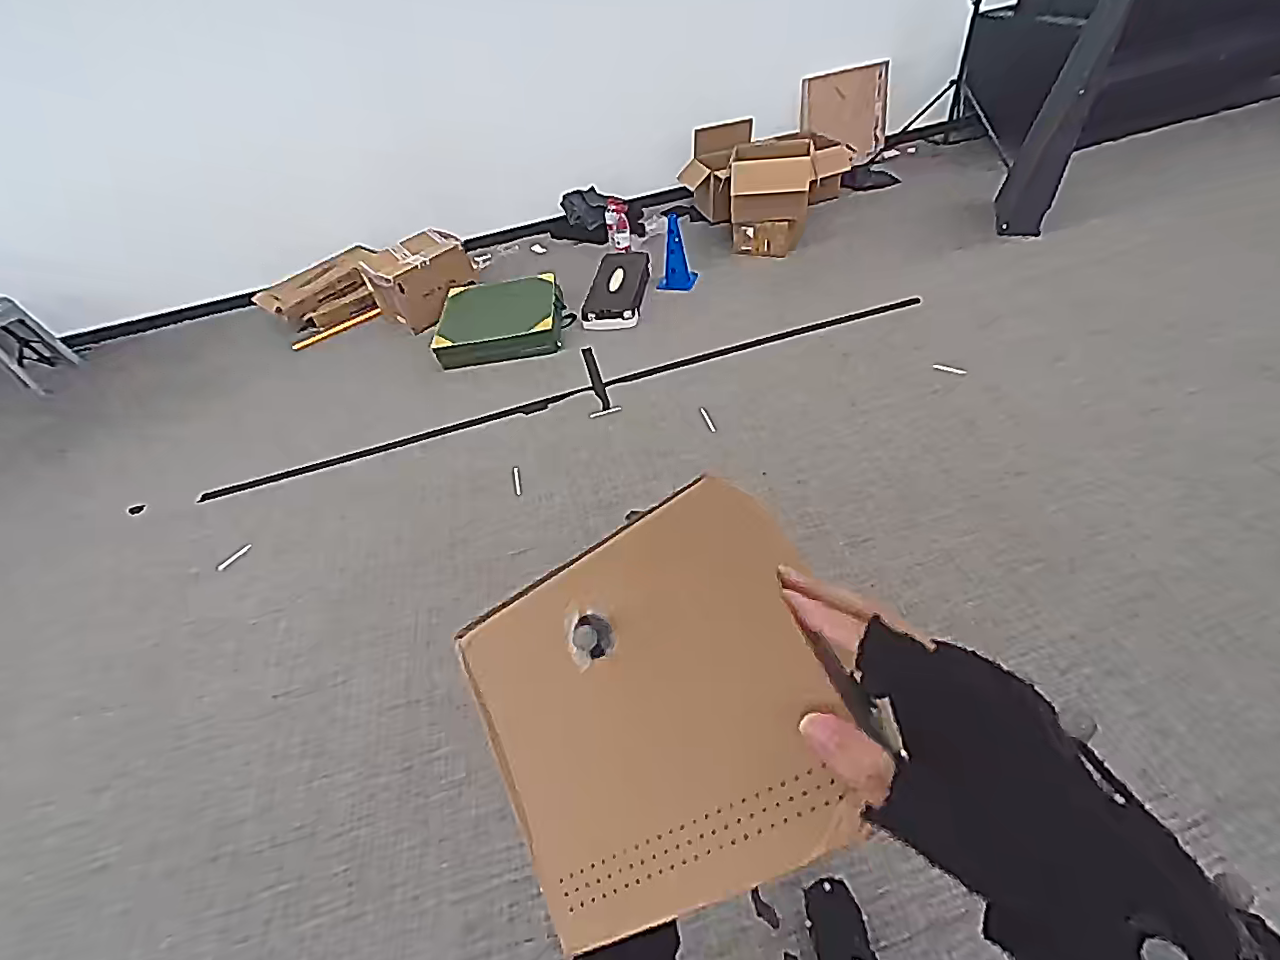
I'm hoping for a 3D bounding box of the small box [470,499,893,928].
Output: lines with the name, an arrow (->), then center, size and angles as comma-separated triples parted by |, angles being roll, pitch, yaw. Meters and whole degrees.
small box -> 0.033, 0.133, 0.346 | 0.179, 0.168, 0.176 | -34, 72, 16
